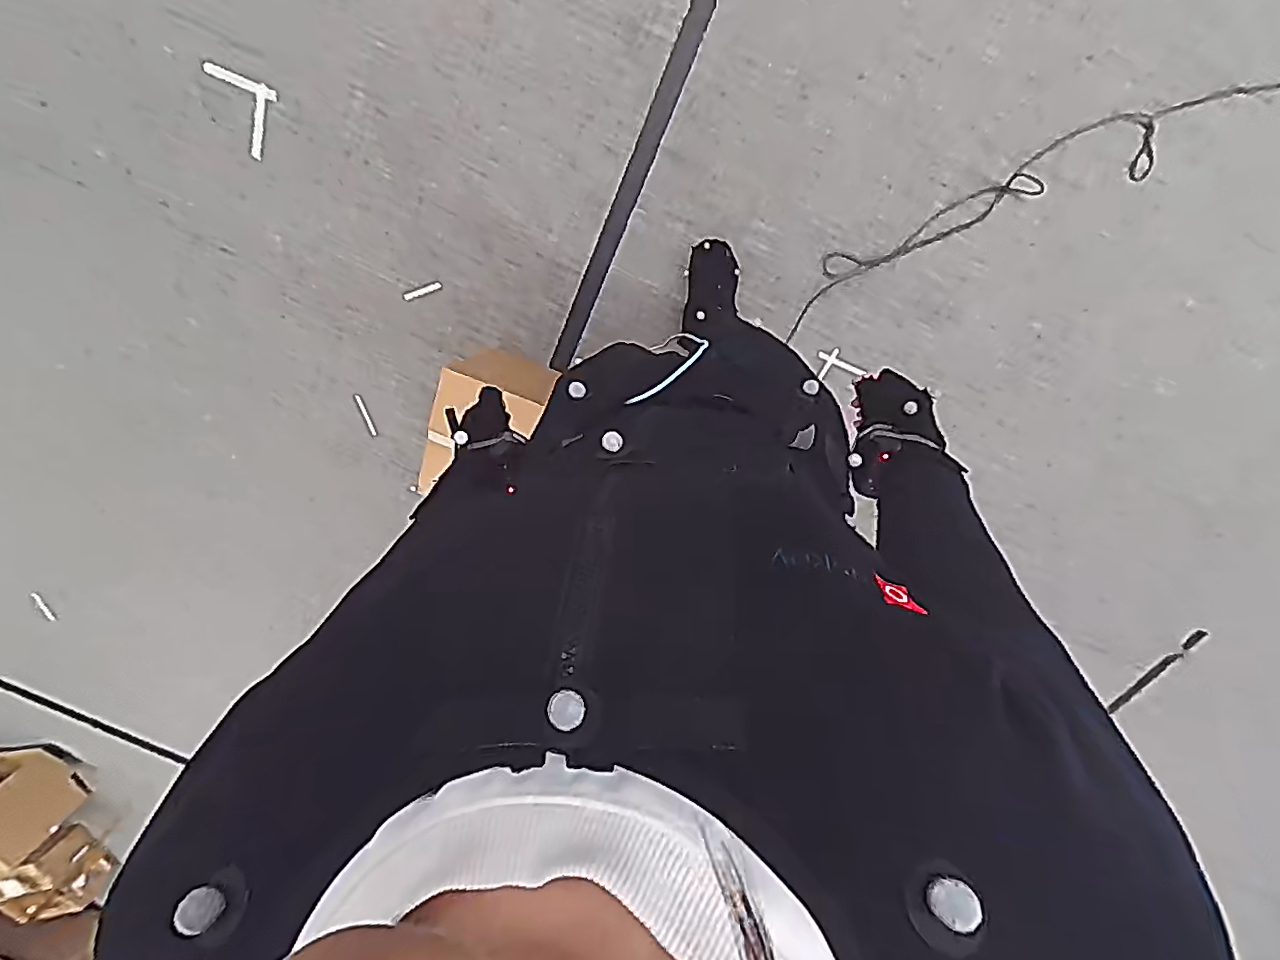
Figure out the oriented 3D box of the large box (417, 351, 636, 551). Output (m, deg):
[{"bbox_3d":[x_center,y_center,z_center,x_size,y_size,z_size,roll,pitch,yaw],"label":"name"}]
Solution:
[{"bbox_3d":[-0.260,-0.086,1.329,0.408,0.320,0.320,22,111,0],"label":"large box"}]
